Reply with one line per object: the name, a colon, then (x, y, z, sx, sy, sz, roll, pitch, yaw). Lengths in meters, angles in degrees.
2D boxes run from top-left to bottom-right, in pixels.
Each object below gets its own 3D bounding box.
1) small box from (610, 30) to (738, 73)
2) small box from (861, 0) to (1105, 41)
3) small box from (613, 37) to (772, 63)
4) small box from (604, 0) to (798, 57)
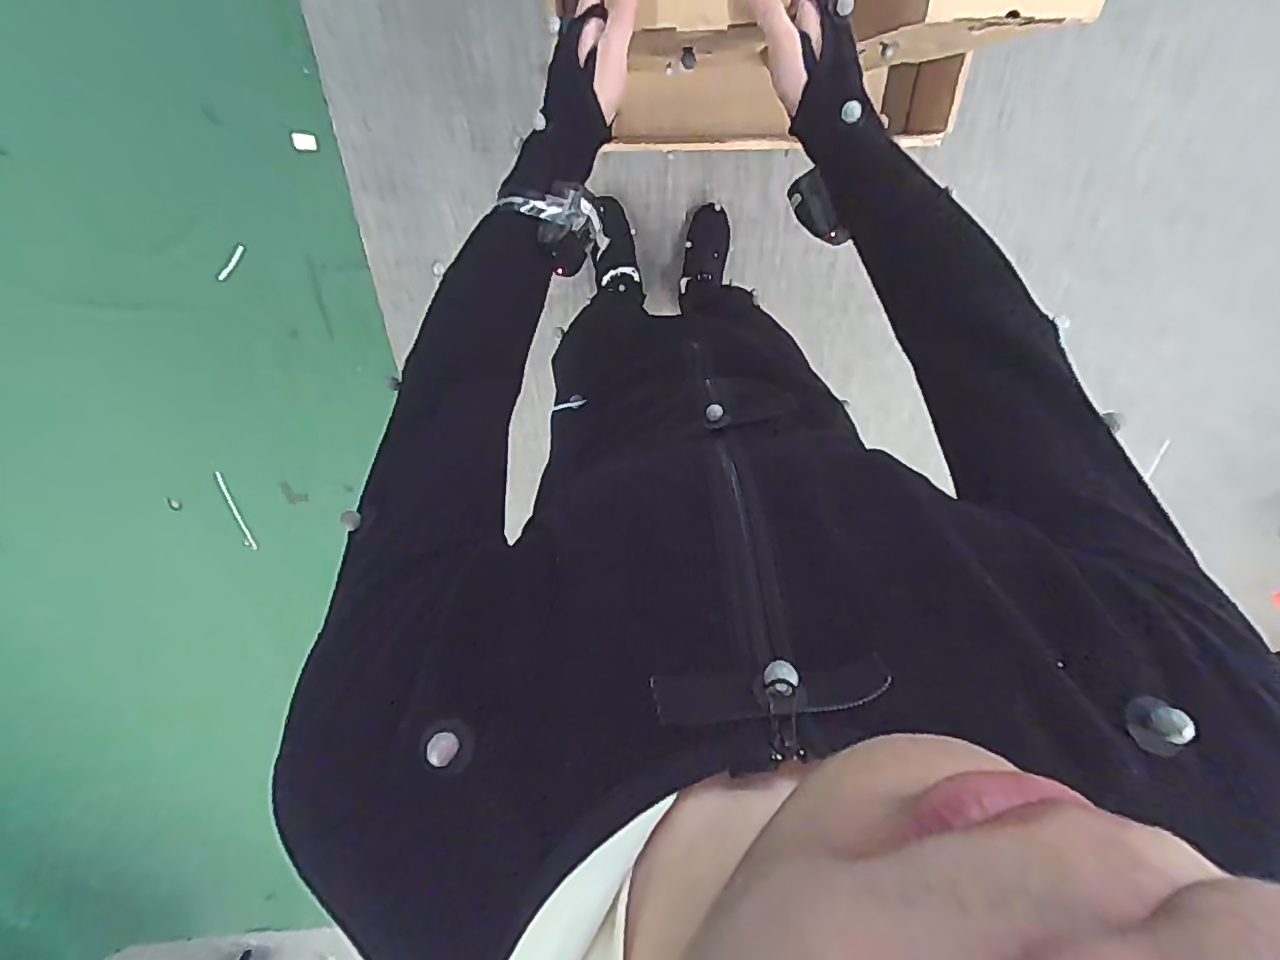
small box: (0.043, -0.694, 0.773, 0.179, 0.176, 0.168, -4, 123, -3)
small box: (0.329, -0.532, 0.507, 0.168, 0.176, 0.179, -3, 122, -3)
small box: (0.055, -0.605, 0.636, 0.179, 0.176, 0.168, -5, 123, -2)
small box: (0.047, -0.501, 0.481, 0.168, 0.176, 0.179, -2, 122, 2)
